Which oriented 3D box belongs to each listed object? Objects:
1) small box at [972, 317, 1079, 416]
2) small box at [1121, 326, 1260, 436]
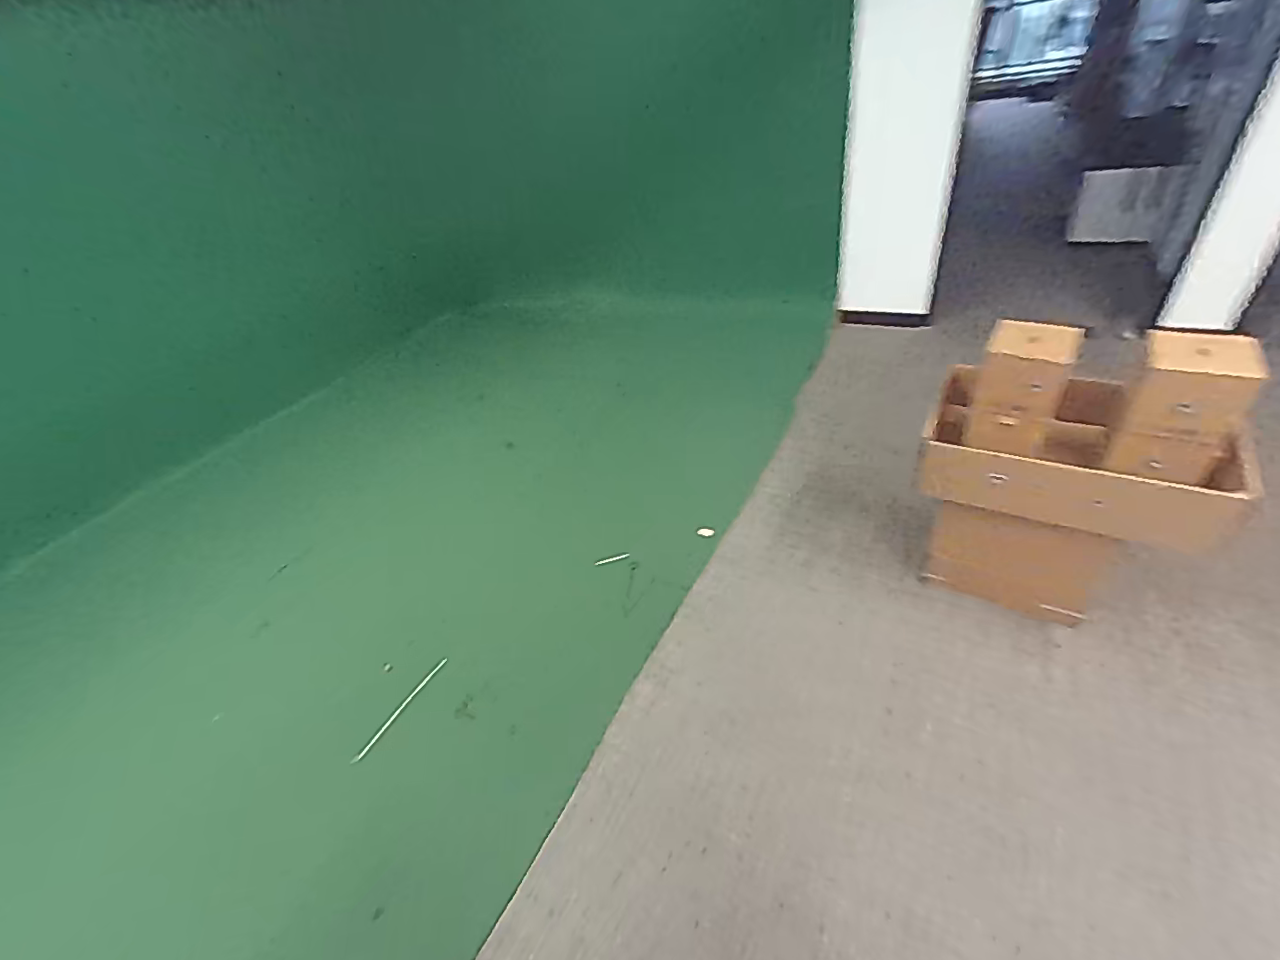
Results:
[{"bbox_3d":[0.940,-0.279,1.330,0.168,0.176,0.179,20,49,33],"label":"small box"},{"bbox_3d":[1.189,-0.217,1.182,0.168,0.176,0.179,15,47,30],"label":"small box"}]
